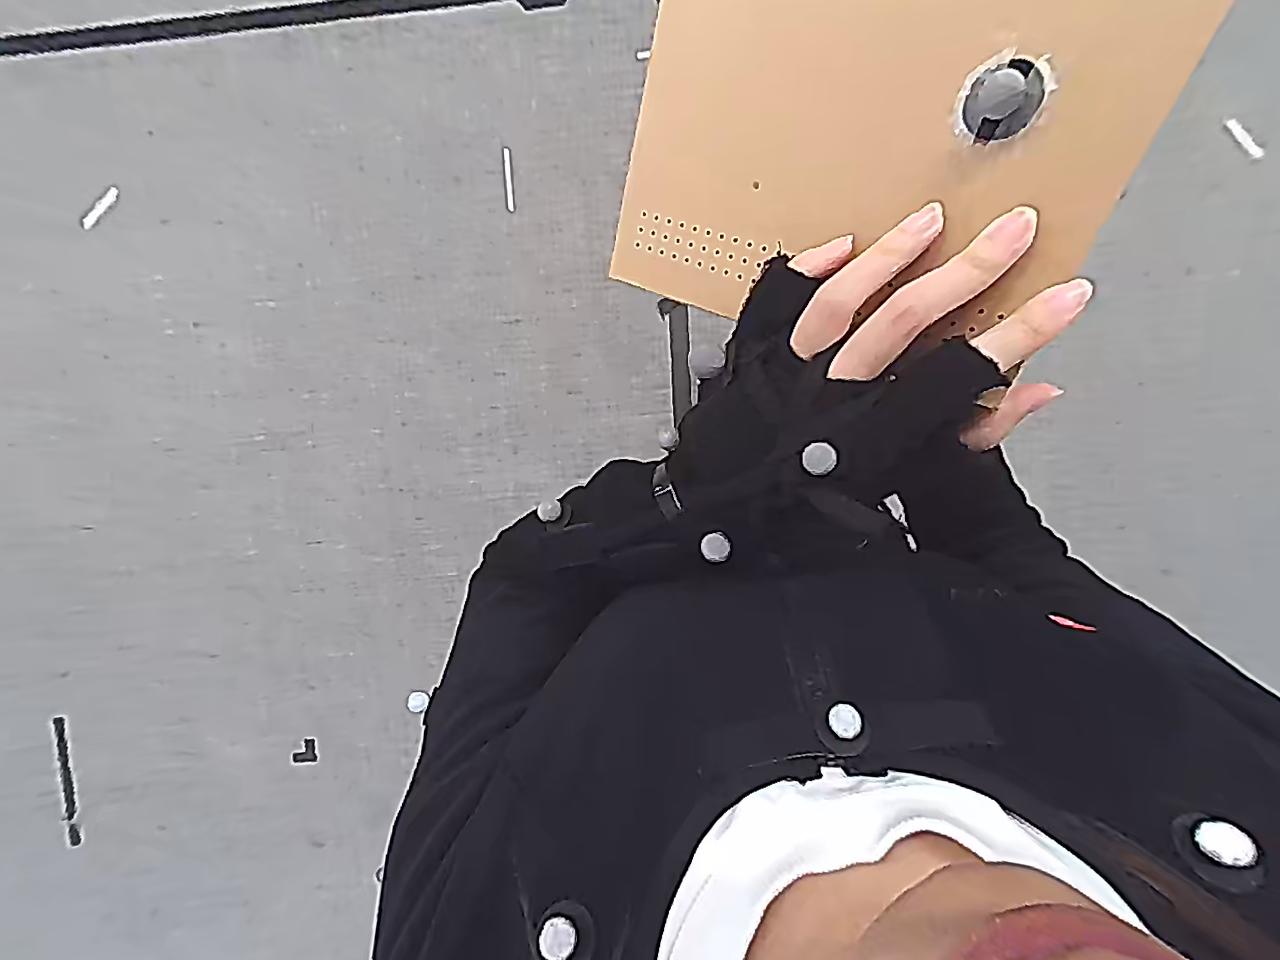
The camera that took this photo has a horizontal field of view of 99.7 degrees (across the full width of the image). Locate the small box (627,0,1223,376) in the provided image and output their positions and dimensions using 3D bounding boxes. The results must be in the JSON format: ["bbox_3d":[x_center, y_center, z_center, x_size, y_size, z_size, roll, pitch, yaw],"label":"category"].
[{"bbox_3d":[0.118,-0.157,0.260,0.179,0.168,0.176,26,119,21],"label":"small box"}]
